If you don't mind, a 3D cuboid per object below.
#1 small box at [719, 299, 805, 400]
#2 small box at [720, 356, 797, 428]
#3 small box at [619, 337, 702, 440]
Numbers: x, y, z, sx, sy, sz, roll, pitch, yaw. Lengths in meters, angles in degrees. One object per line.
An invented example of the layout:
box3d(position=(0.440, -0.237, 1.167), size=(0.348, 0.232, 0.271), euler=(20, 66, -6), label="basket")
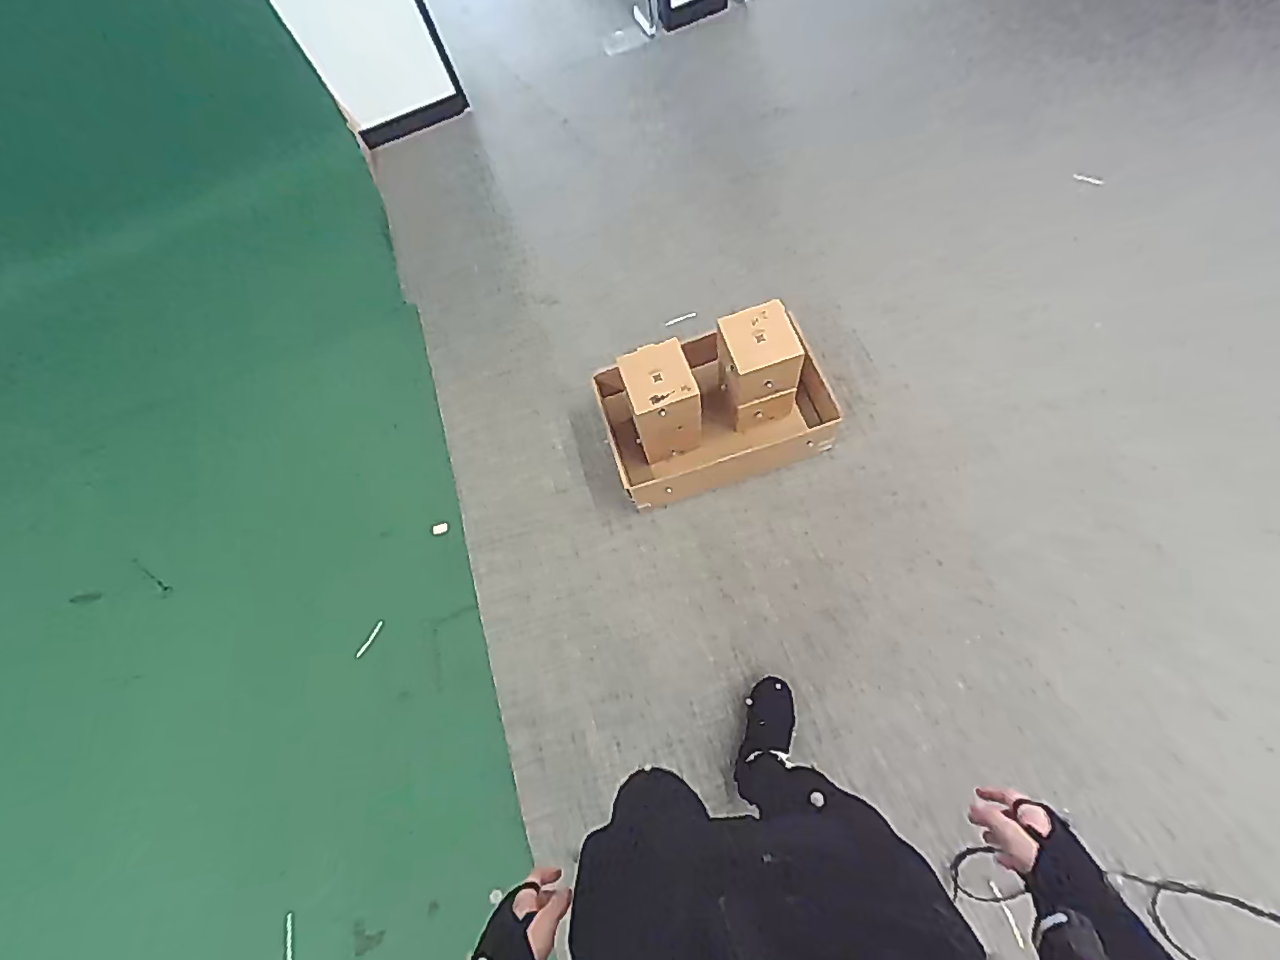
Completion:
box3d(position=(0.312, -0.326, 1.401), size=(0.168, 0.176, 0.179), euler=(-17, 68, 3), label="small box")
box3d(position=(0.337, -0.267, 1.553), size=(0.168, 0.176, 0.179), euler=(-18, 68, 3), label="small box")
box3d(position=(0.057, -0.232, 1.403), size=(0.168, 0.176, 0.179), euler=(-19, 68, 1), label="small box")
